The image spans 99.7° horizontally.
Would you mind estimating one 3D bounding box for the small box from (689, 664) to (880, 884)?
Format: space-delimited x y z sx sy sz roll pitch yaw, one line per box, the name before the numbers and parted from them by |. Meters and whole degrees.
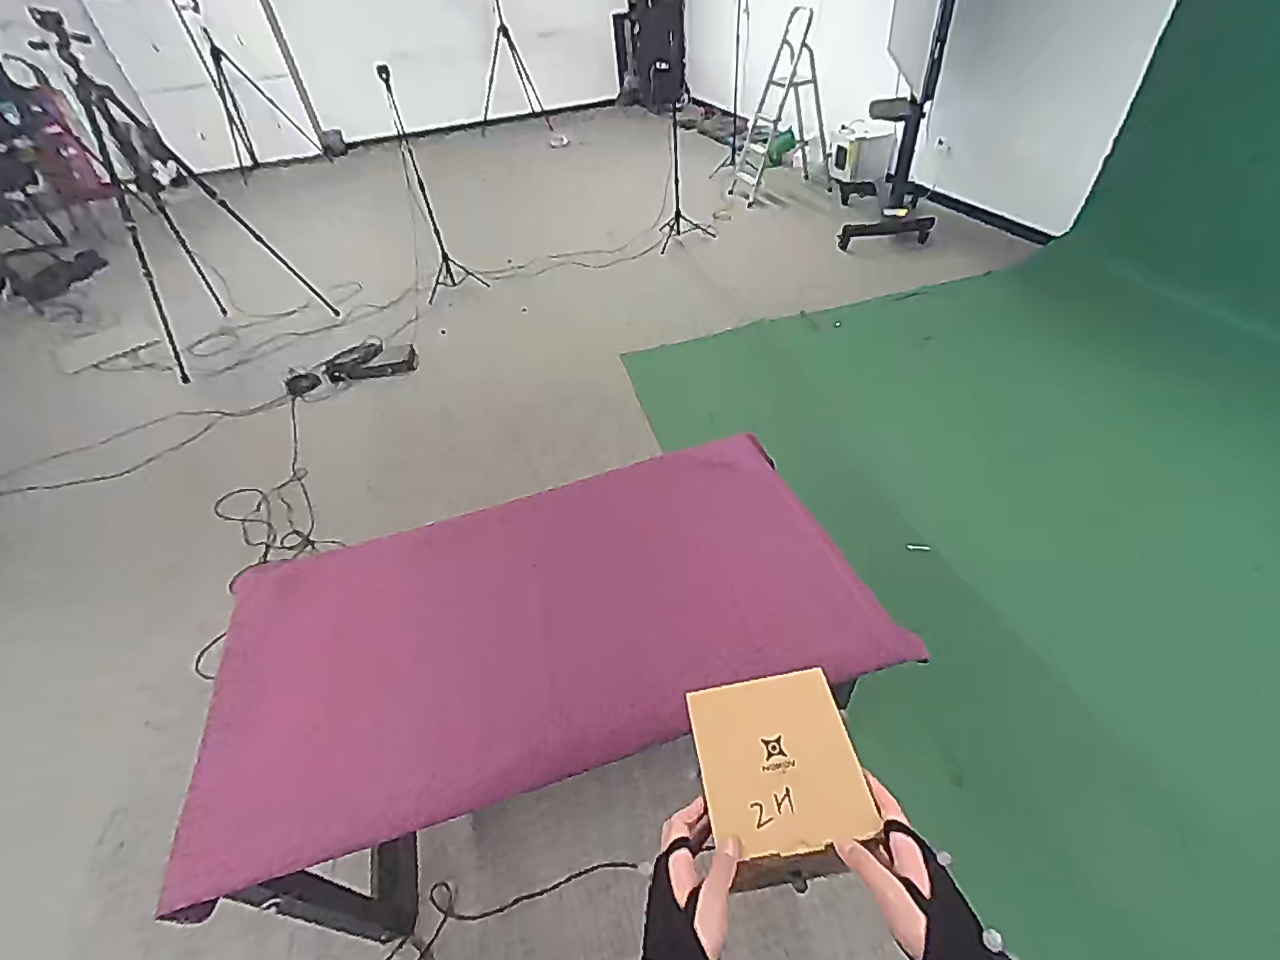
small box | 0.157 0.349 0.641 0.168 0.176 0.179 -12 45 2
